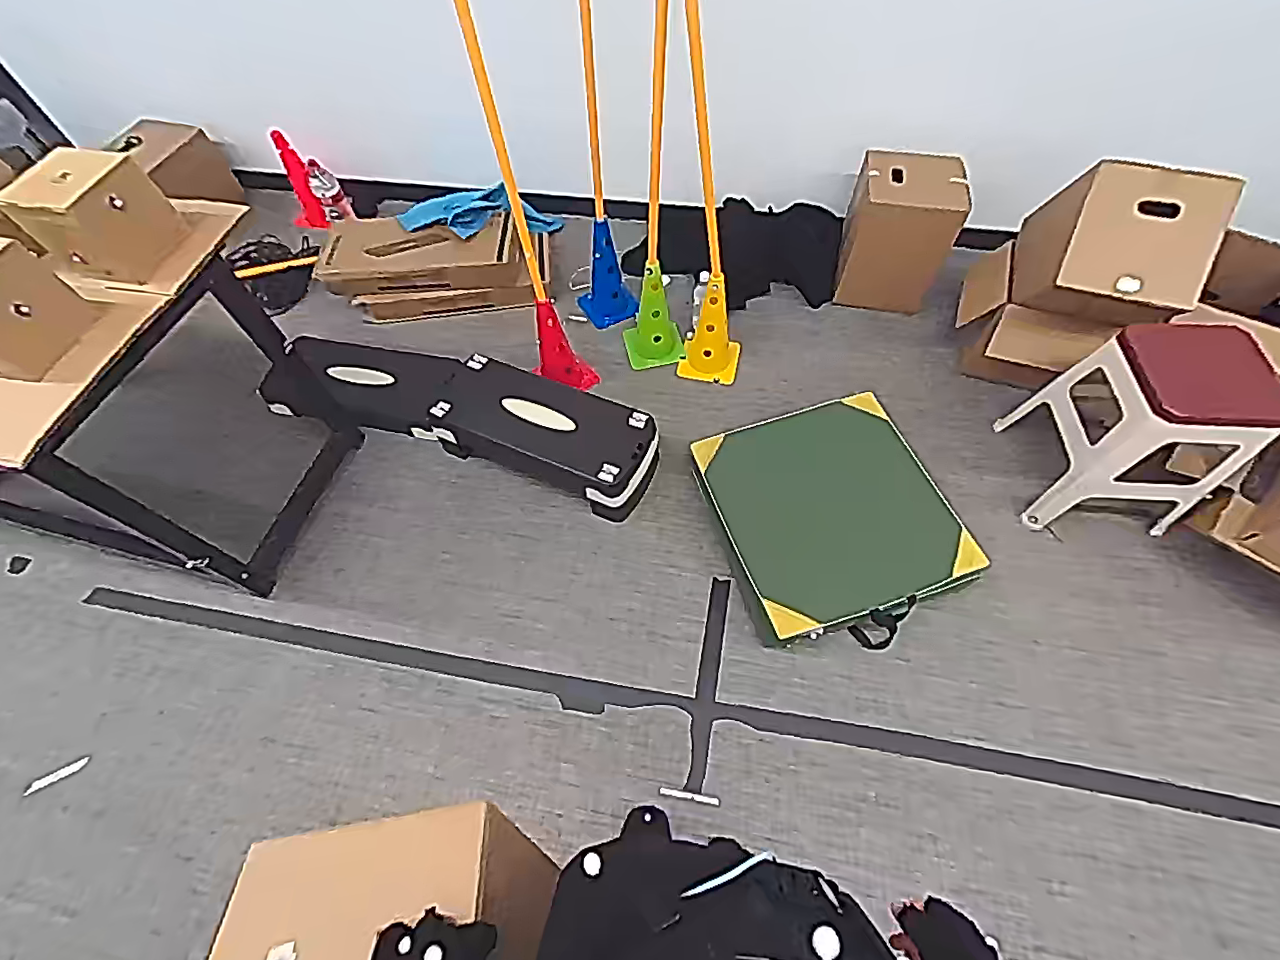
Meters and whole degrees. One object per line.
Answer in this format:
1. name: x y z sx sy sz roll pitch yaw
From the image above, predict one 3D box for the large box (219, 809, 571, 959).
1. large box: -0.293 0.678 0.704 0.320 0.408 0.320 -9 41 4
